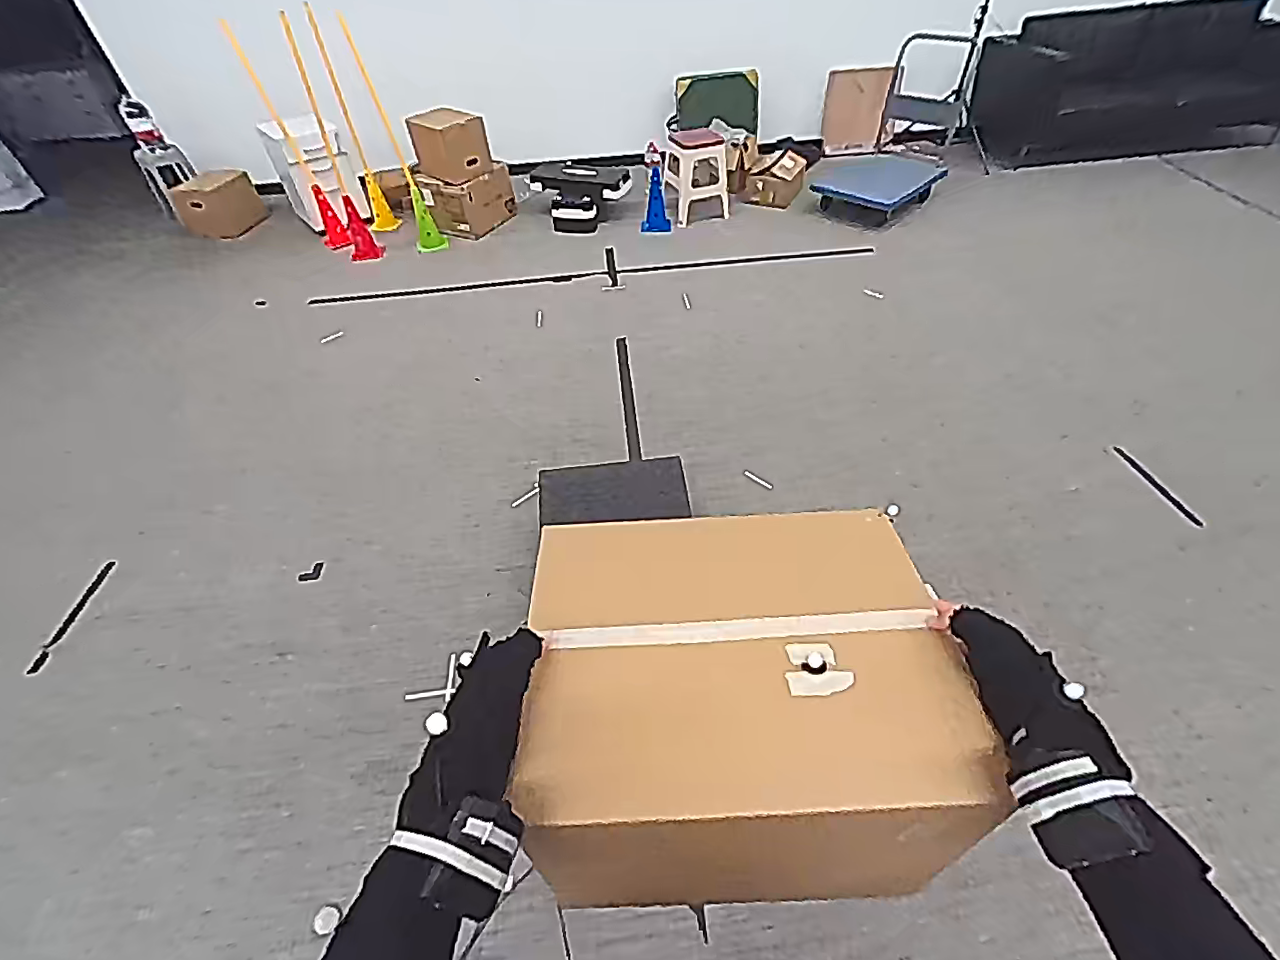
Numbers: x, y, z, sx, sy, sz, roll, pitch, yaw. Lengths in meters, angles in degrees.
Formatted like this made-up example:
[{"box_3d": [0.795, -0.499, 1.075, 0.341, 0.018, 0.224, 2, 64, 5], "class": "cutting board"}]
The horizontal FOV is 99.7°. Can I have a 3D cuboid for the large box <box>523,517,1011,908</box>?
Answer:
[{"box_3d": [0.102, 0.270, 0.640, 0.408, 0.320, 0.320, -3, 42, 1], "class": "large box"}]
